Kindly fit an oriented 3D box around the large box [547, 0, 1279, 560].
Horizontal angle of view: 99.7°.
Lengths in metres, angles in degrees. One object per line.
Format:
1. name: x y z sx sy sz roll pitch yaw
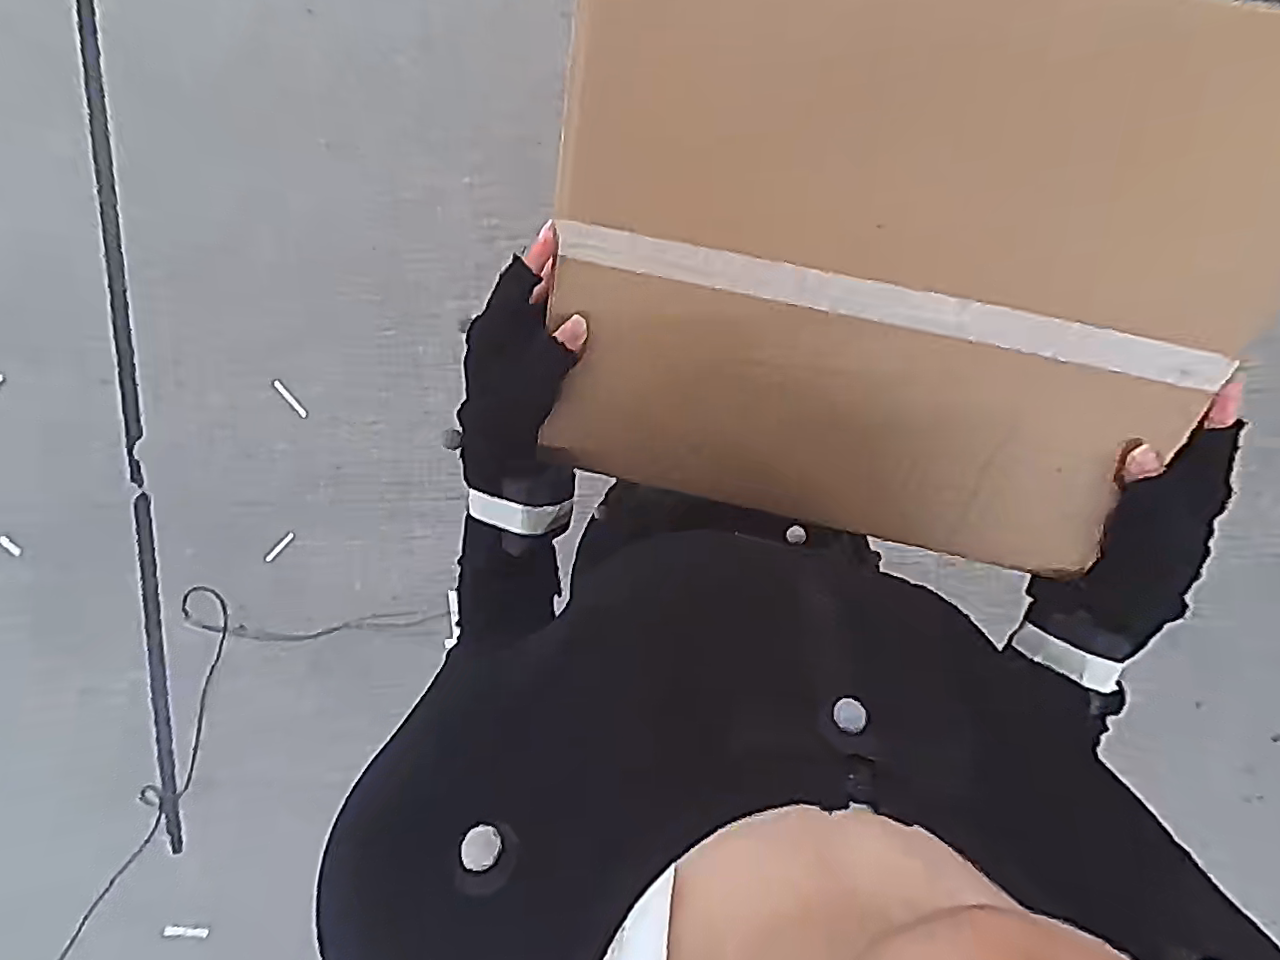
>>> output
1. large box: 0.163 -0.180 0.462 0.408 0.320 0.320 13 120 1
